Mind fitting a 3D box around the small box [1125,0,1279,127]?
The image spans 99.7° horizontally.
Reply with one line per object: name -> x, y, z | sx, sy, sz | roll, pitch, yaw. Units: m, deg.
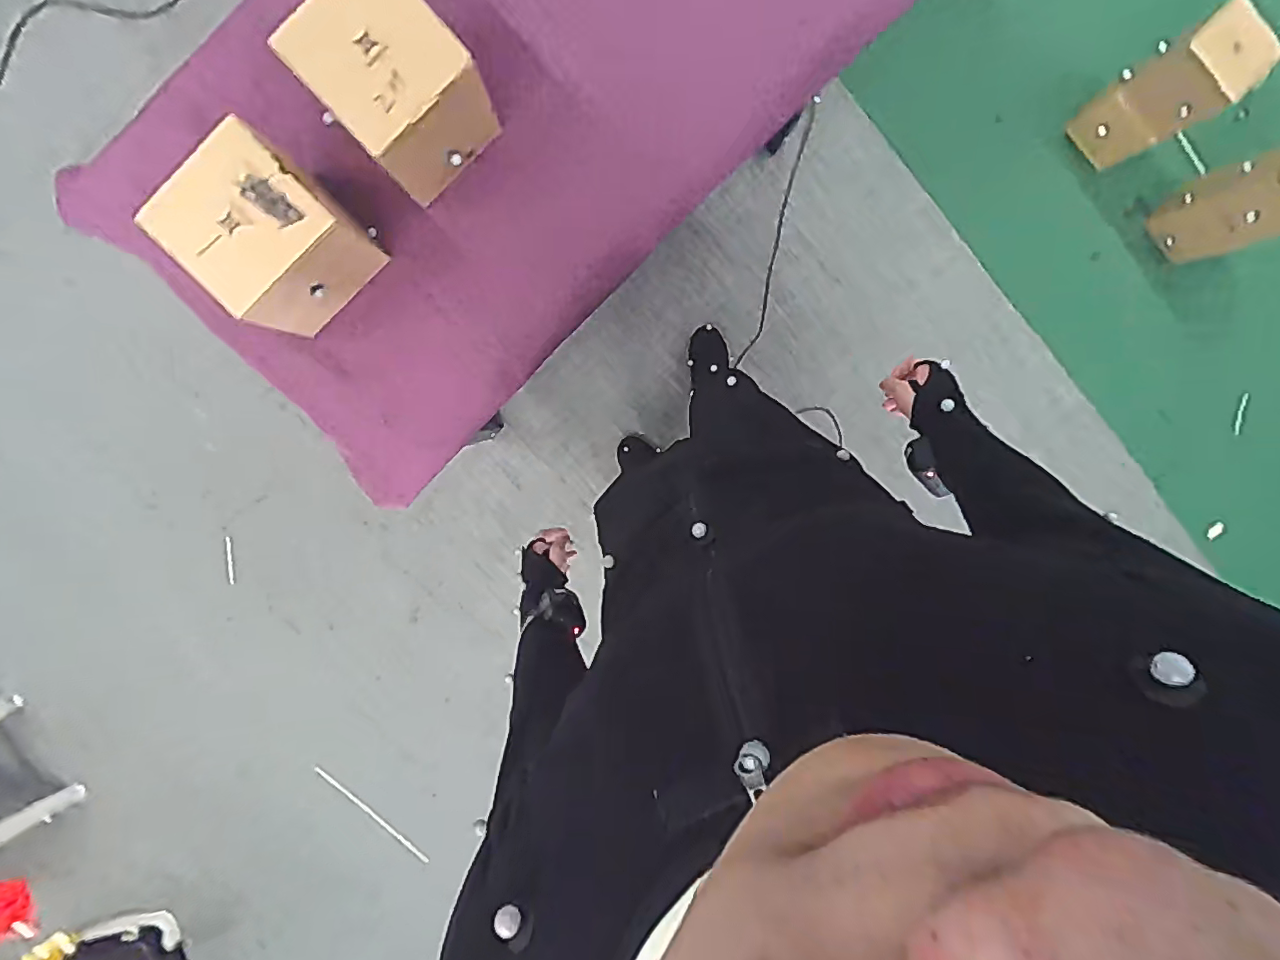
small box -> 1.340, -0.992, 1.292 | 0.179, 0.176, 0.168 | 44, 92, -6

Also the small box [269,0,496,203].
small box -> -0.319, -0.508, 0.711 | 0.168, 0.176, 0.179 | -43, 98, 3

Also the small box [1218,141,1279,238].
small box -> 1.602, -0.734, 1.333 | 0.179, 0.176, 0.168 | -41, 98, 5

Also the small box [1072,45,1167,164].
small box -> 1.321, -1.001, 1.453 | 0.168, 0.176, 0.179 | 44, 93, -7

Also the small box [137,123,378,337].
small box -> -0.488, -0.317, 0.728 | 0.179, 0.176, 0.168 | -44, 97, 4
